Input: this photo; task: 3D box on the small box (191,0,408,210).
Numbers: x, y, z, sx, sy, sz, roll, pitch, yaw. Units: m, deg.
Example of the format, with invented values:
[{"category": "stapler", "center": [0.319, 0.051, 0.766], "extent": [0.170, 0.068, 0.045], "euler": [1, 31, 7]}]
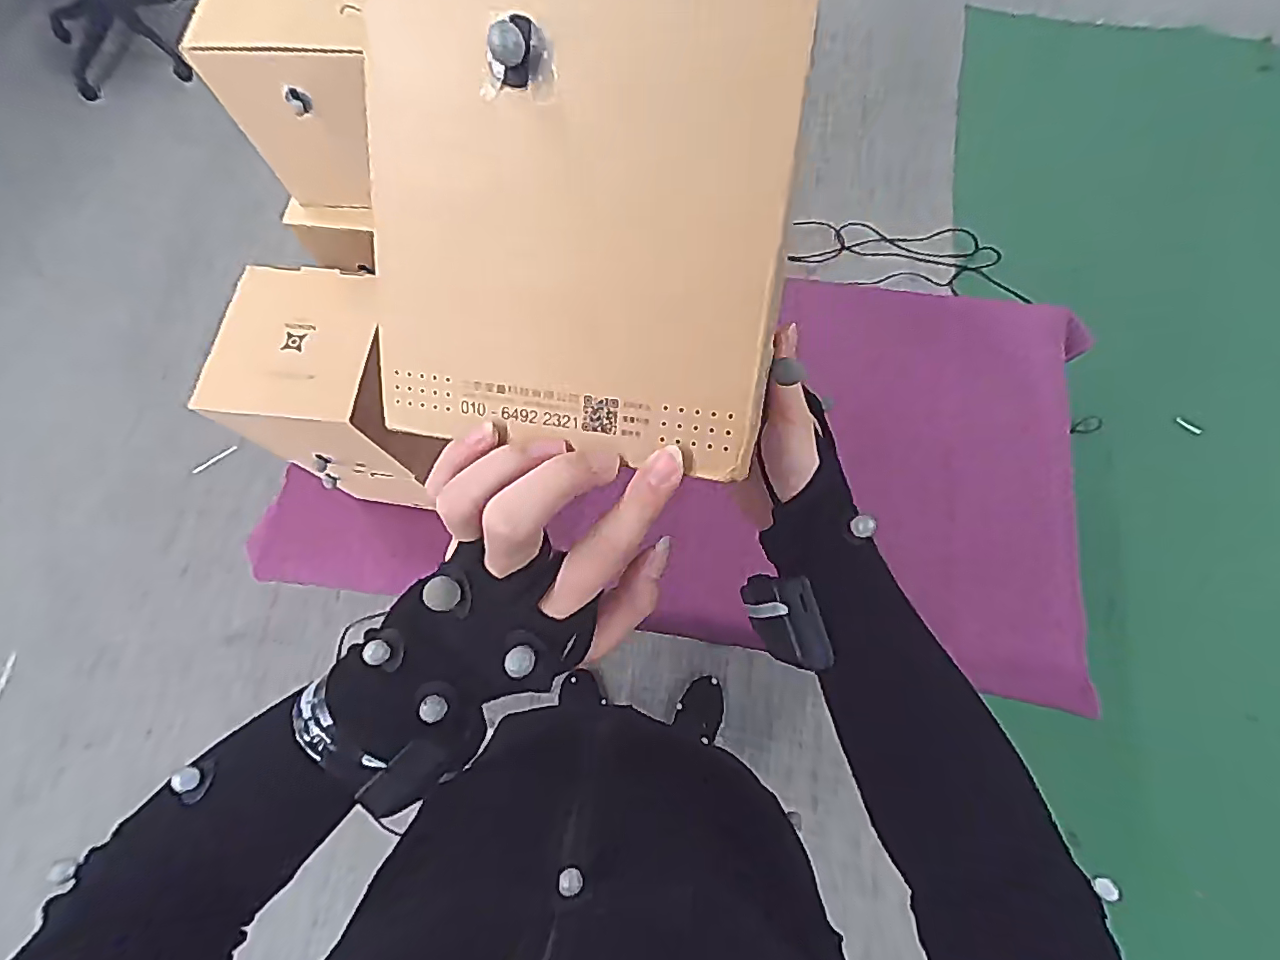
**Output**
[{"category": "small box", "center": [-0.289, -0.404, 0.554], "extent": [0.179, 0.176, 0.168], "euler": [3, 72, 1]}]

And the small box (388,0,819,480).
[{"category": "small box", "center": [-0.008, -0.110, 0.288], "extent": [0.168, 0.179, 0.176], "euler": [9, 107, 13]}]

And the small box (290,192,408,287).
[{"category": "small box", "center": [-0.303, -0.331, 0.703], "extent": [0.168, 0.176, 0.179], "euler": [6, 72, 2]}]

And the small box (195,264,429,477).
[{"category": "small box", "center": [-0.350, -0.119, 0.634], "extent": [0.168, 0.176, 0.179], "euler": [6, 72, 3]}]
